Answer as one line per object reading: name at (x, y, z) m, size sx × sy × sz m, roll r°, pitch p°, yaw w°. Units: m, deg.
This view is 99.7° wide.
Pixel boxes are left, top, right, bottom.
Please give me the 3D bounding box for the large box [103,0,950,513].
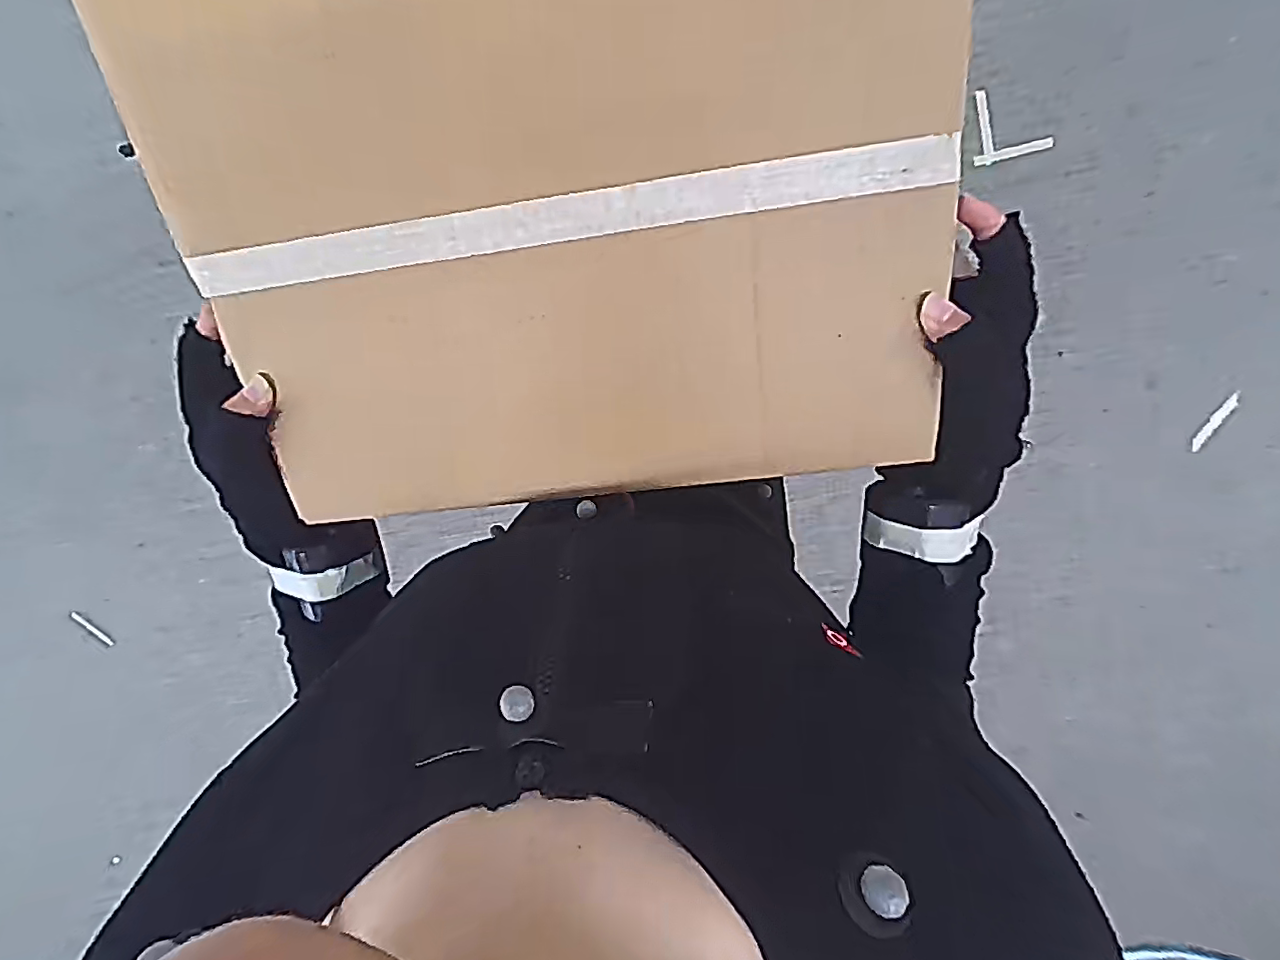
large box at (-0.041, -0.197, 0.427) m, size 0.408 × 0.320 × 0.320 m, roll -7°, pitch 114°, yaw 5°
